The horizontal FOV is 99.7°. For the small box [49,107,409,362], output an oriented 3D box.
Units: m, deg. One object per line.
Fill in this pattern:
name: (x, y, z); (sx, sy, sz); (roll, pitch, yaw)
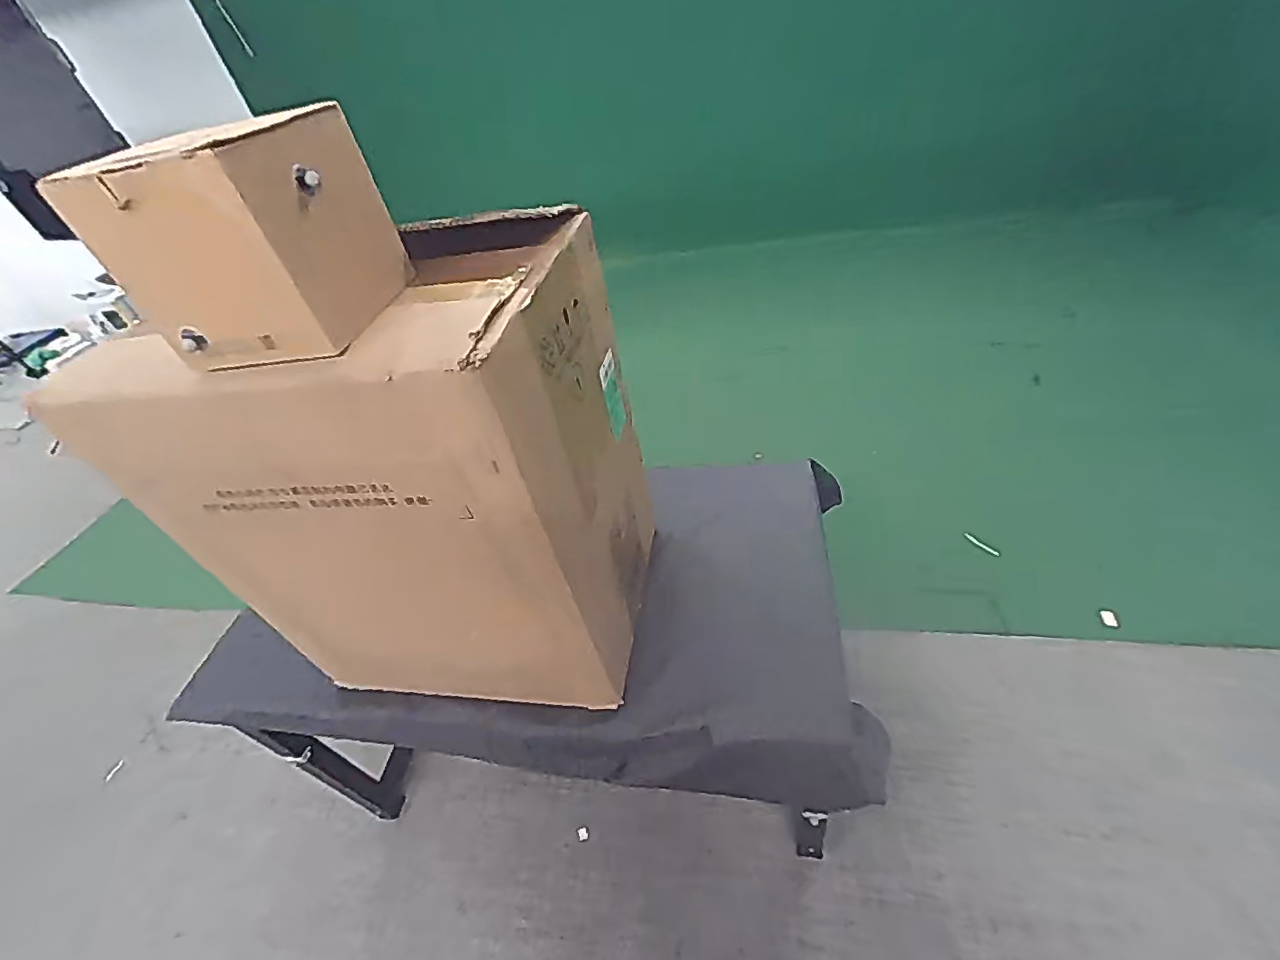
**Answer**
small box: (-0.353, -0.223, 0.512); (0.168, 0.176, 0.179); (-2, 42, 12)
